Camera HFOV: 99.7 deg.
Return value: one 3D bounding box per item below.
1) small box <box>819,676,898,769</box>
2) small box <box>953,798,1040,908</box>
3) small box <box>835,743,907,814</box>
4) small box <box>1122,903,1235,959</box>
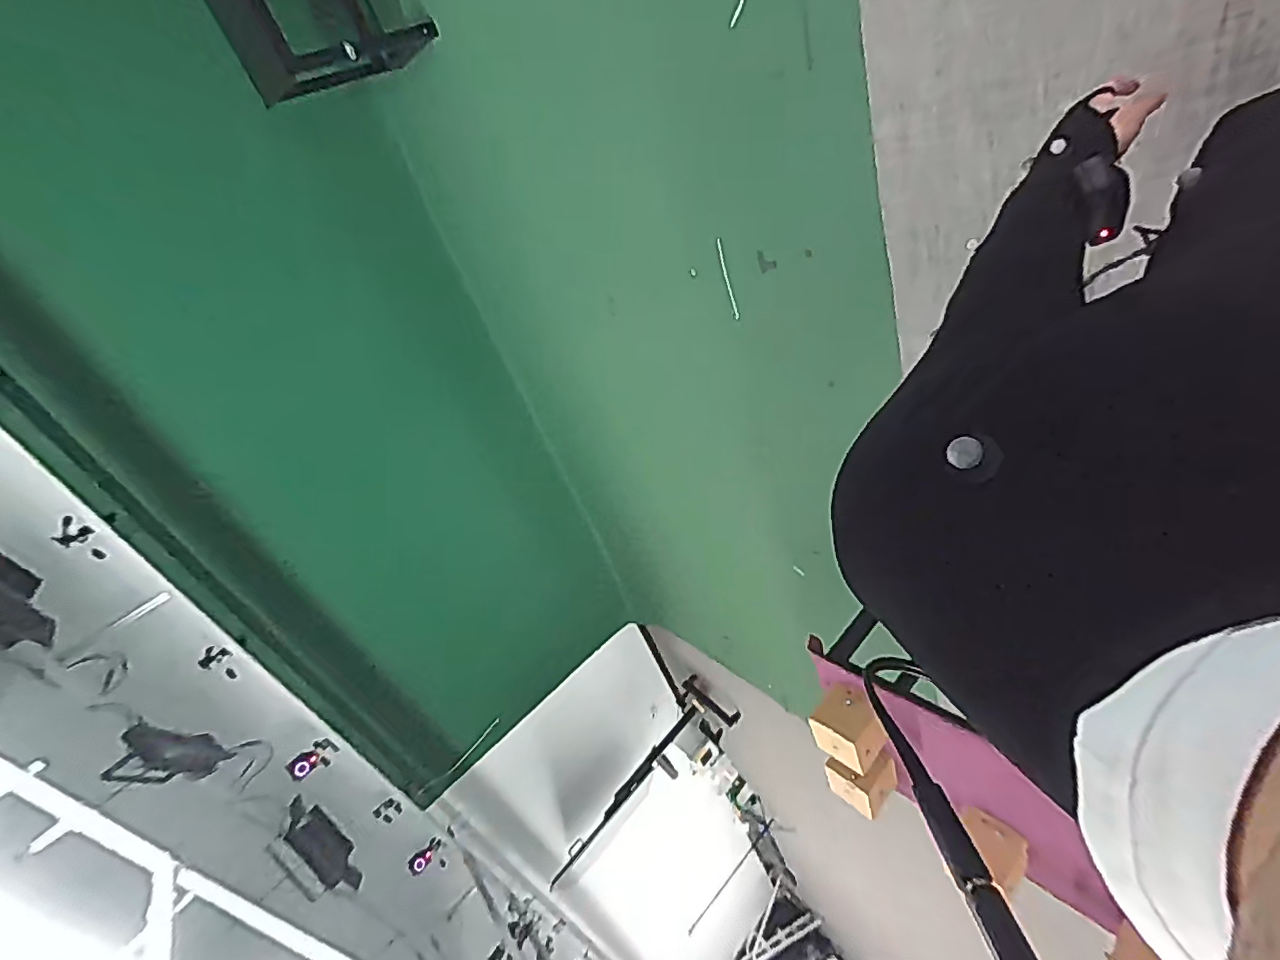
[{"bbox_3d":[0.708,0.775,1.740,0.168,0.176,0.179,16,138,50],"label":"small box"},{"bbox_3d":[1.050,1.092,1.591,0.168,0.176,0.179,19,139,50],"label":"small box"},{"bbox_3d":[0.814,1.009,1.891,0.168,0.176,0.179,19,141,49],"label":"small box"},{"bbox_3d":[1.278,1.171,1.292,0.168,0.176,0.179,18,140,51],"label":"small box"}]
